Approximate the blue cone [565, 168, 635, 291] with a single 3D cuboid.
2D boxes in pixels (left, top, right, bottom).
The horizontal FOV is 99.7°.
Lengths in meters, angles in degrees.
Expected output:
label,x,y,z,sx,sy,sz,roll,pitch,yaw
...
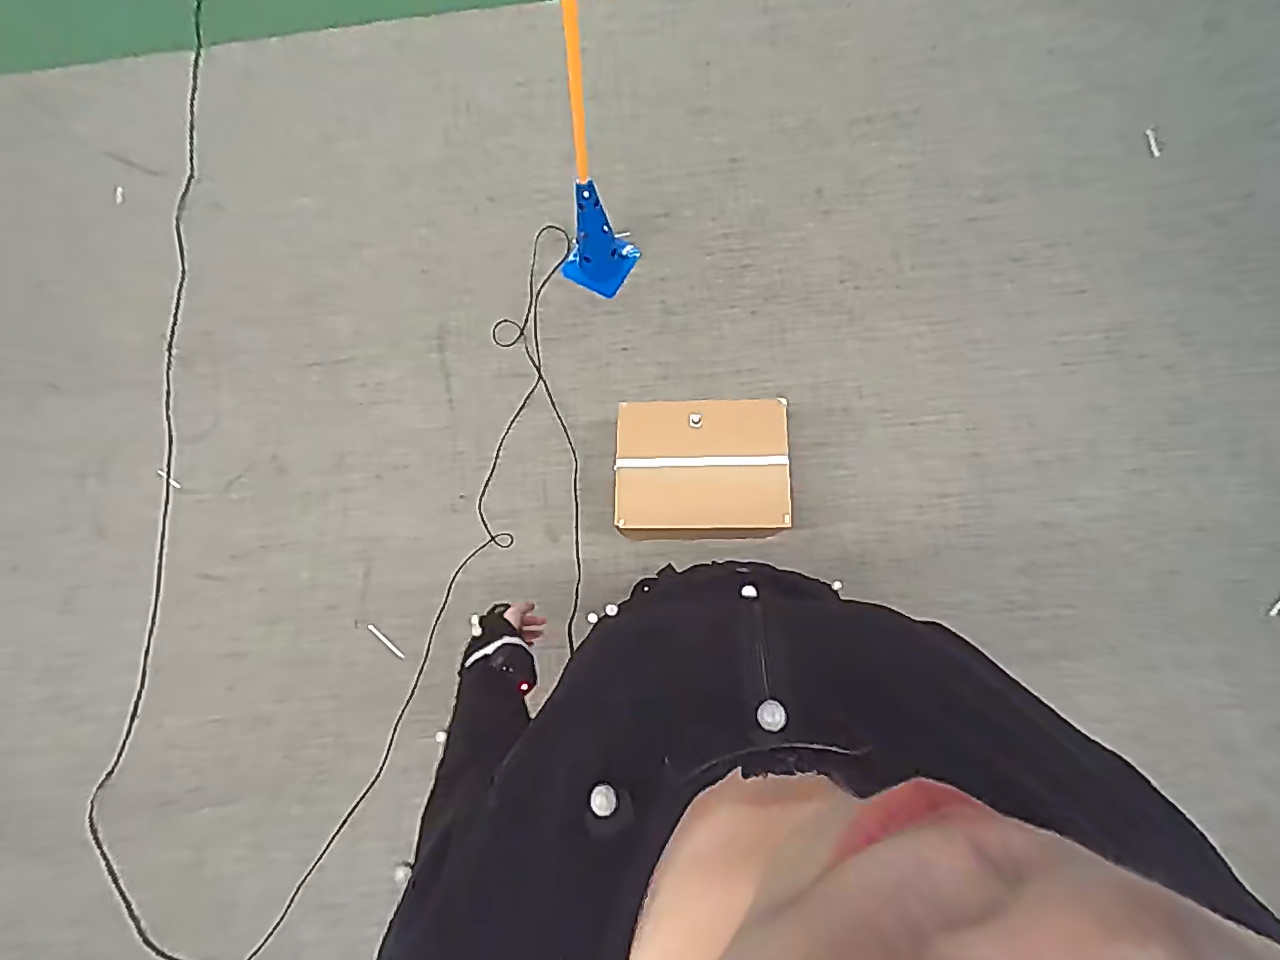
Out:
label,x,y,z,sx,sy,sz,roll,pitch,yaw
blue cone,-0.135,-0.736,1.547,0.192,0.380,0.193,27,80,8
